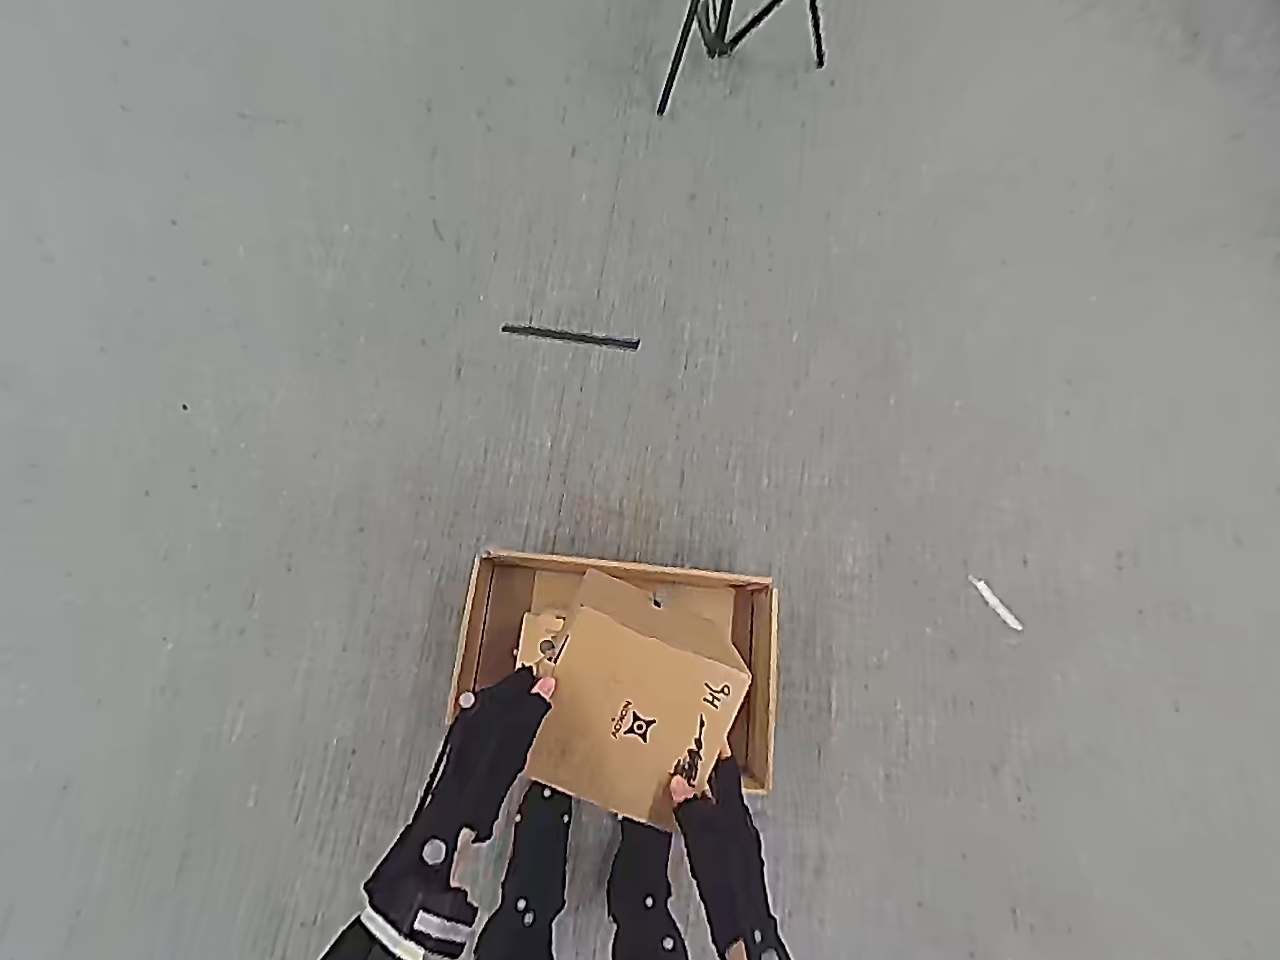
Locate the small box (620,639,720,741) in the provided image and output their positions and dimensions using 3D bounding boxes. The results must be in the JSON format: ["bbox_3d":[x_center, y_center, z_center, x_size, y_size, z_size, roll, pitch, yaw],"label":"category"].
[{"bbox_3d":[0.056,0.416,1.094,0.179,0.176,0.168,7,73,0],"label":"small box"}]
